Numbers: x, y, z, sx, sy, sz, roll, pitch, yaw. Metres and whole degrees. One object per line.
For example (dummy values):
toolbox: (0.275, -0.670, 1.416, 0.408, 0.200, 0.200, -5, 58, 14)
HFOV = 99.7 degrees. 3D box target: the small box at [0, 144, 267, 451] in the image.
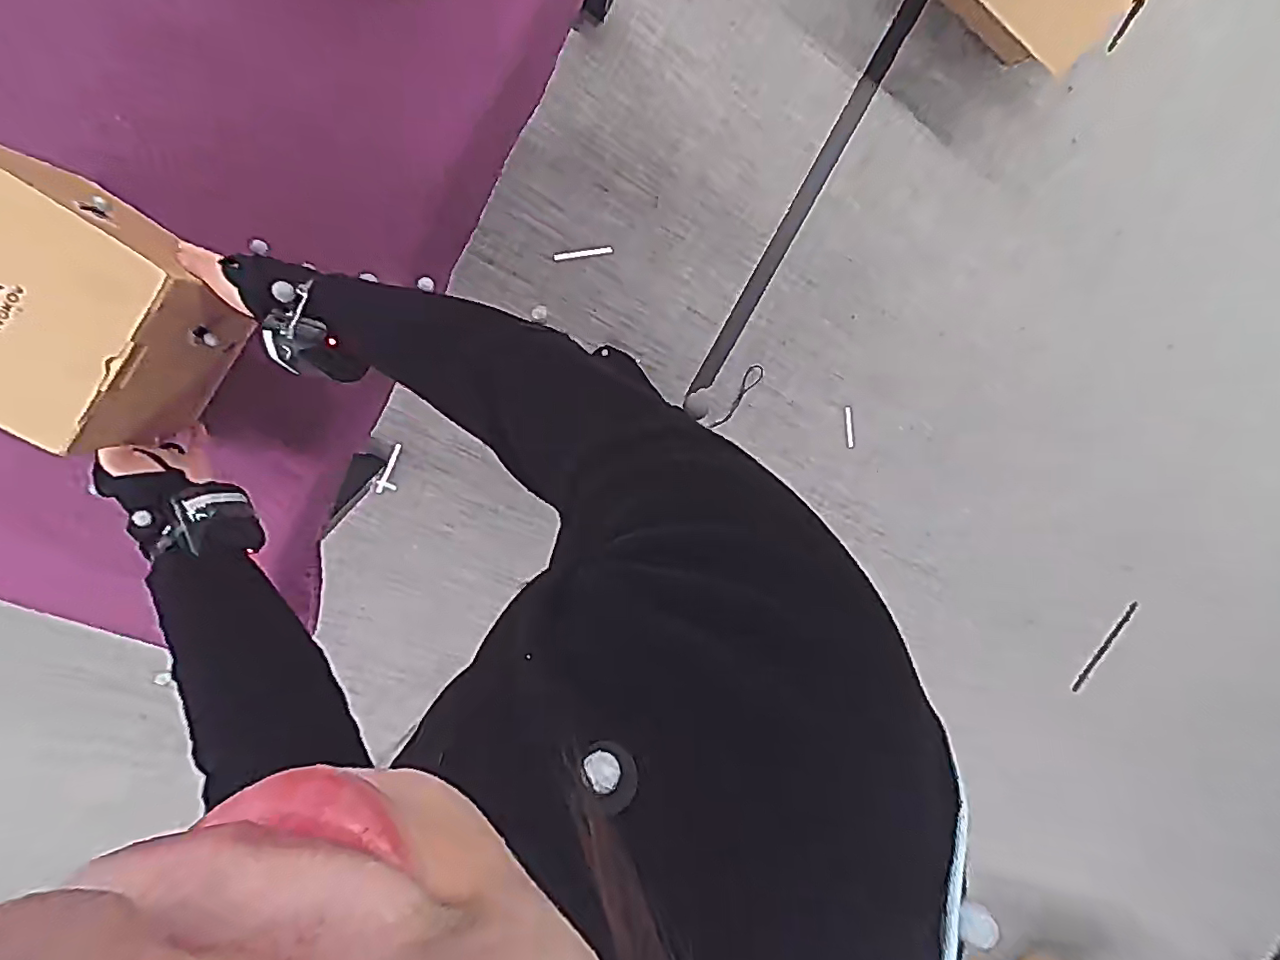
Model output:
small box: (-0.466, -0.150, 0.453, 0.179, 0.176, 0.168, 34, 94, -16)
